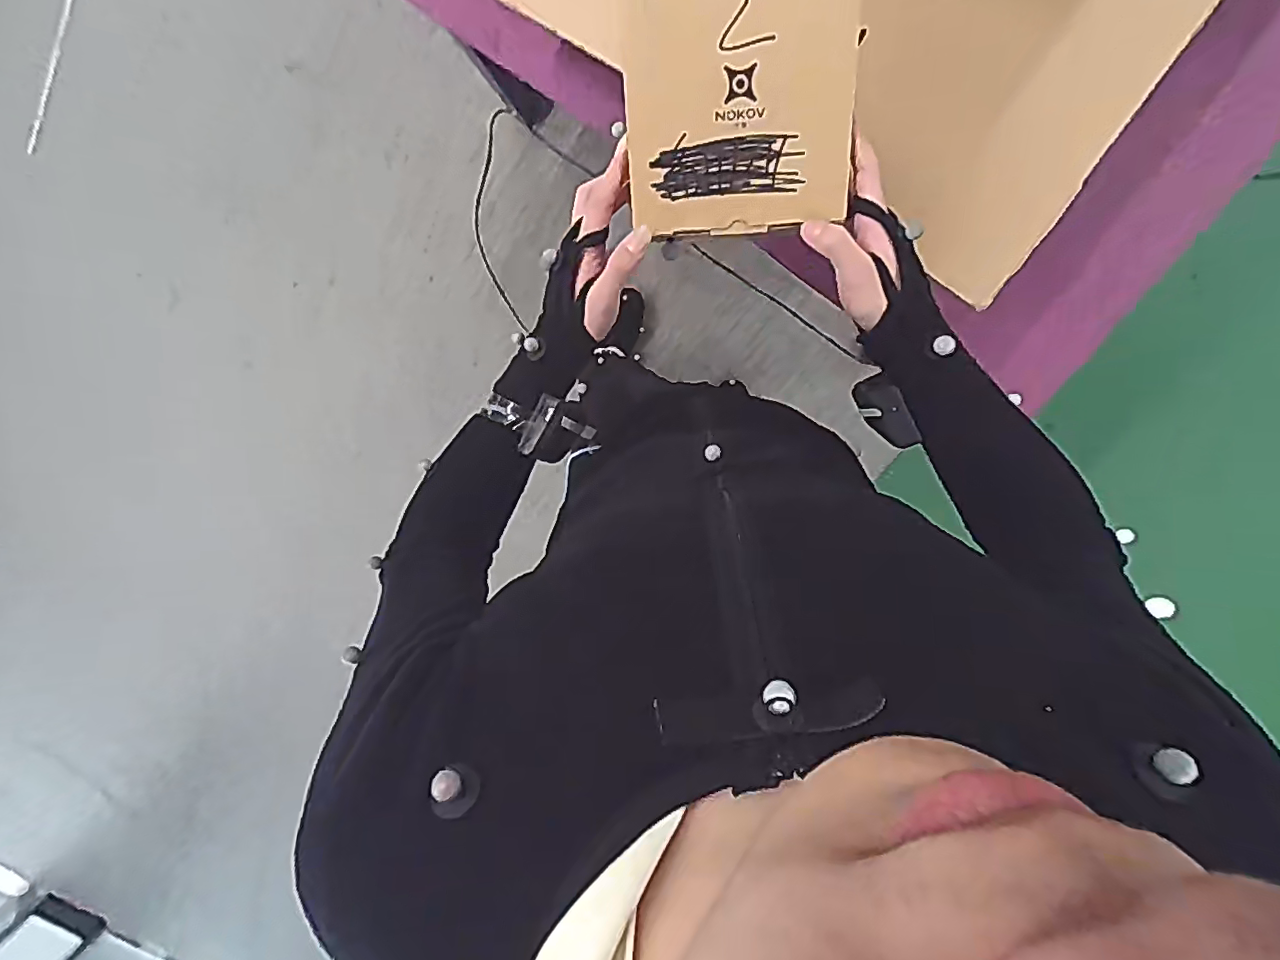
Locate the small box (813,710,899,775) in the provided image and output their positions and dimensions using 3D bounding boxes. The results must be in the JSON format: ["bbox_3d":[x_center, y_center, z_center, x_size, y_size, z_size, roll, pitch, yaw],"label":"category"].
[{"bbox_3d":[0.697,0.894,1.765,0.179,0.176,0.168,37,105,-6],"label":"small box"}]

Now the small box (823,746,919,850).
[{"bbox_3d":[0.678,0.939,1.608,0.179,0.176,0.168,39,105,-6],"label":"small box"}]
